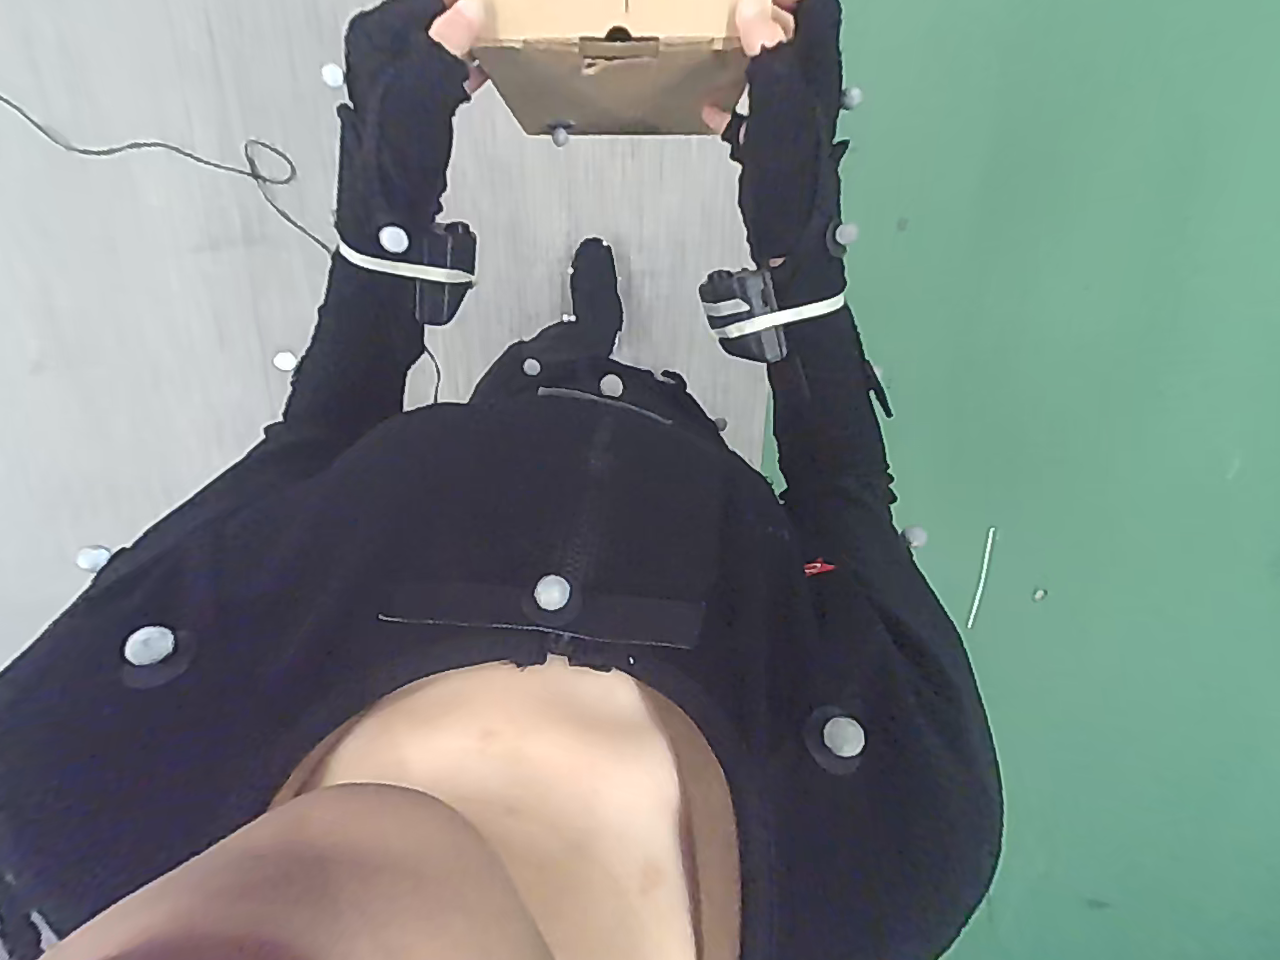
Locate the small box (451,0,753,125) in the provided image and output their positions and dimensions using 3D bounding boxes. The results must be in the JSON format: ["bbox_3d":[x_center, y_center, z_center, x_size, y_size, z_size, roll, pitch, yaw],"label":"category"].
[{"bbox_3d":[-0.019,-0.346,0.342,0.168,0.176,0.179,0,107,0],"label":"small box"}]
